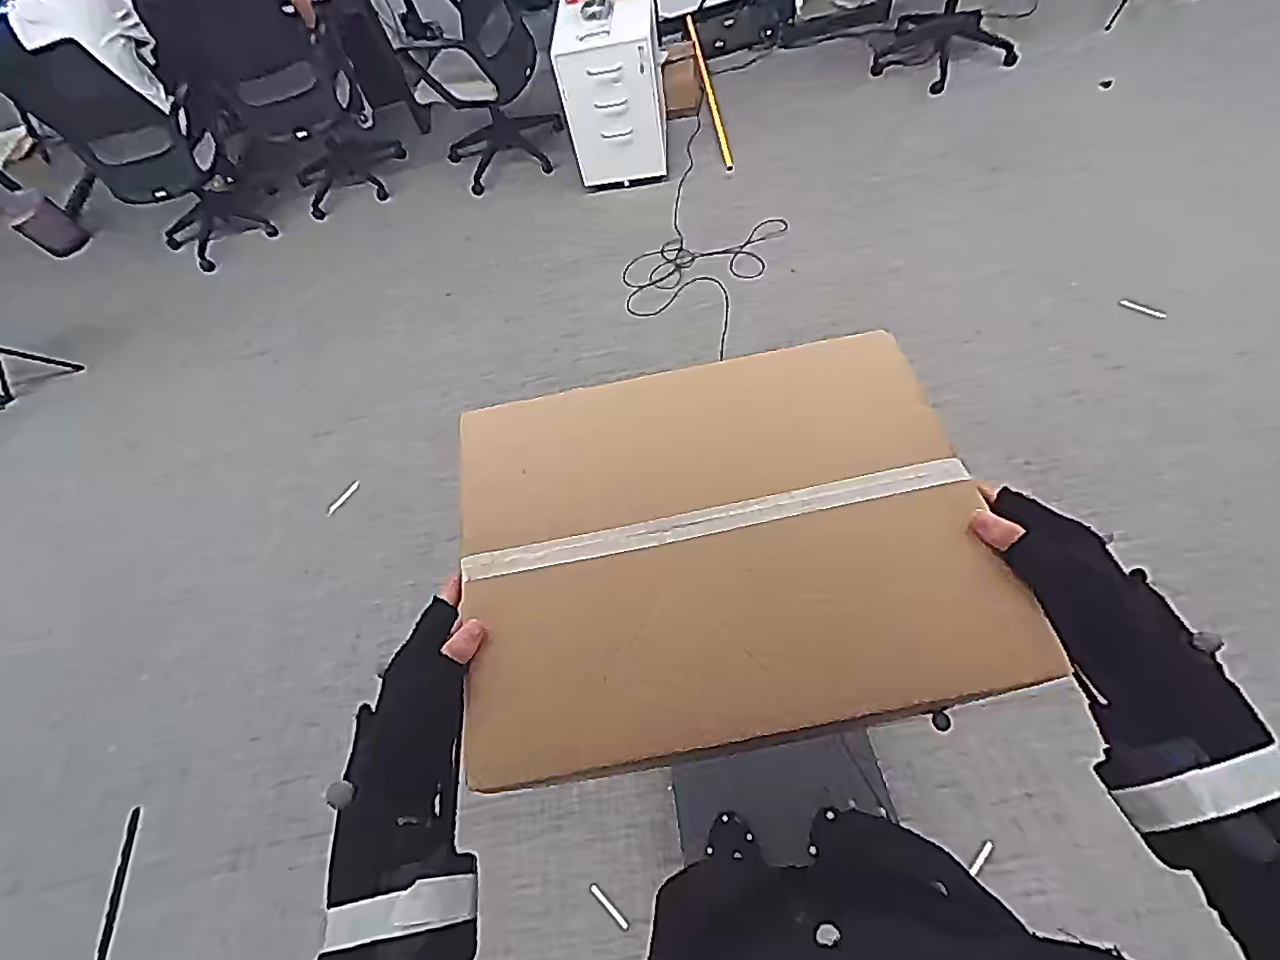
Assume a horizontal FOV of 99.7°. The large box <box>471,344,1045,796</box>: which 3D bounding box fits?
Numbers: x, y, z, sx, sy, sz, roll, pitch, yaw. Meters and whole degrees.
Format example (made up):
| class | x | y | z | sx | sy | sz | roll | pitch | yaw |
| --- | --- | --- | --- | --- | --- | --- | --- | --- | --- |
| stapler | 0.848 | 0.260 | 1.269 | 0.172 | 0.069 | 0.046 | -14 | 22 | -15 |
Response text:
| class | x | y | z | sx | sy | sz | roll | pitch | yaw |
| --- | --- | --- | --- | --- | --- | --- | --- | --- | --- |
| large box | 0.077 | 0.111 | 0.571 | 0.408 | 0.320 | 0.320 | -12 | 61 | 0 |
